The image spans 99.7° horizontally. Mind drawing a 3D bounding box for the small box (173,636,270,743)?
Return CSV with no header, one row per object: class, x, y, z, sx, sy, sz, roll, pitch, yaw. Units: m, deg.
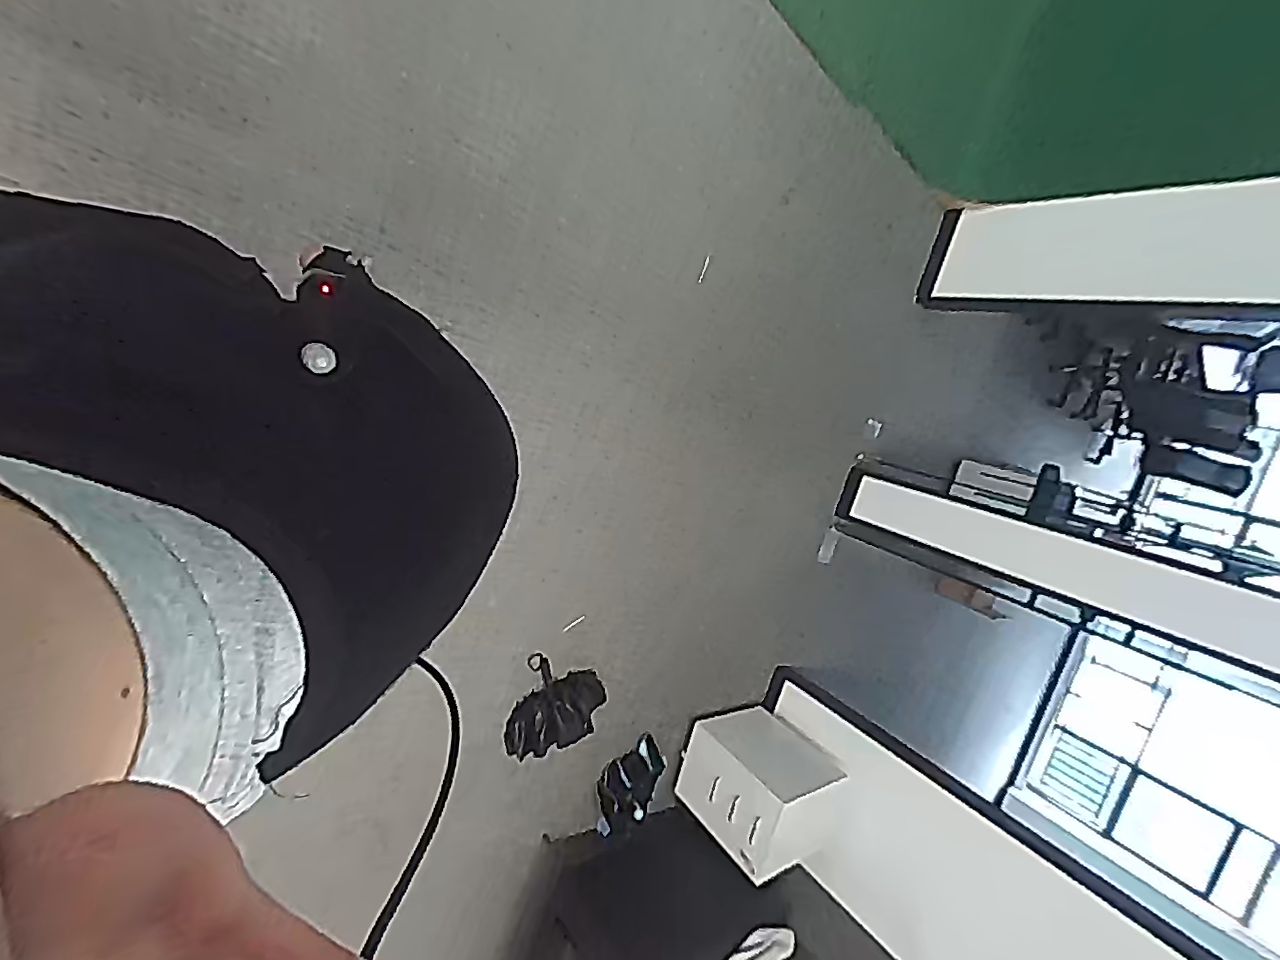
small box,-1.030,0.508,1.333,0.168,0.176,0.179,9,99,-41
